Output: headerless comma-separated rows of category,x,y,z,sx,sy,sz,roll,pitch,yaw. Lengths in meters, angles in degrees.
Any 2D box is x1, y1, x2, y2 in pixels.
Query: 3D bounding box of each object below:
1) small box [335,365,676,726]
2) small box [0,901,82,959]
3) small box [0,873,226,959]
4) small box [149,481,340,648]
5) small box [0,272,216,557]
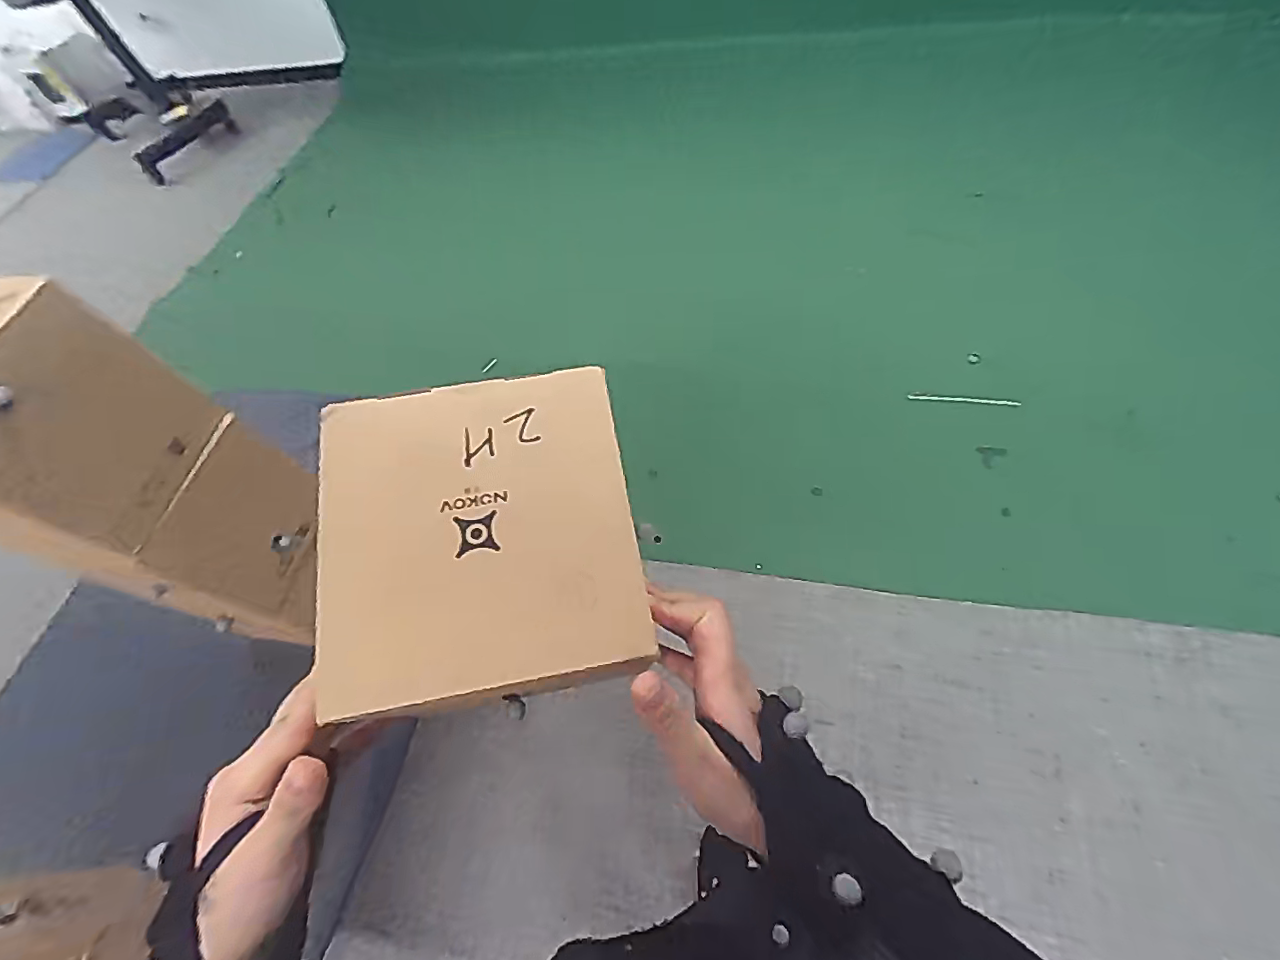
small box,-0.076,0.051,0.359,0.168,0.176,0.179,-8,69,-6
small box,-0.573,0.423,0.373,0.168,0.176,0.179,7,61,12
small box,-0.552,0.502,0.514,0.168,0.176,0.179,6,62,13
small box,-0.472,0.119,0.726,0.179,0.176,0.168,4,61,13
small box,-0.519,-0.044,0.445,0.179,0.176,0.168,1,61,11
